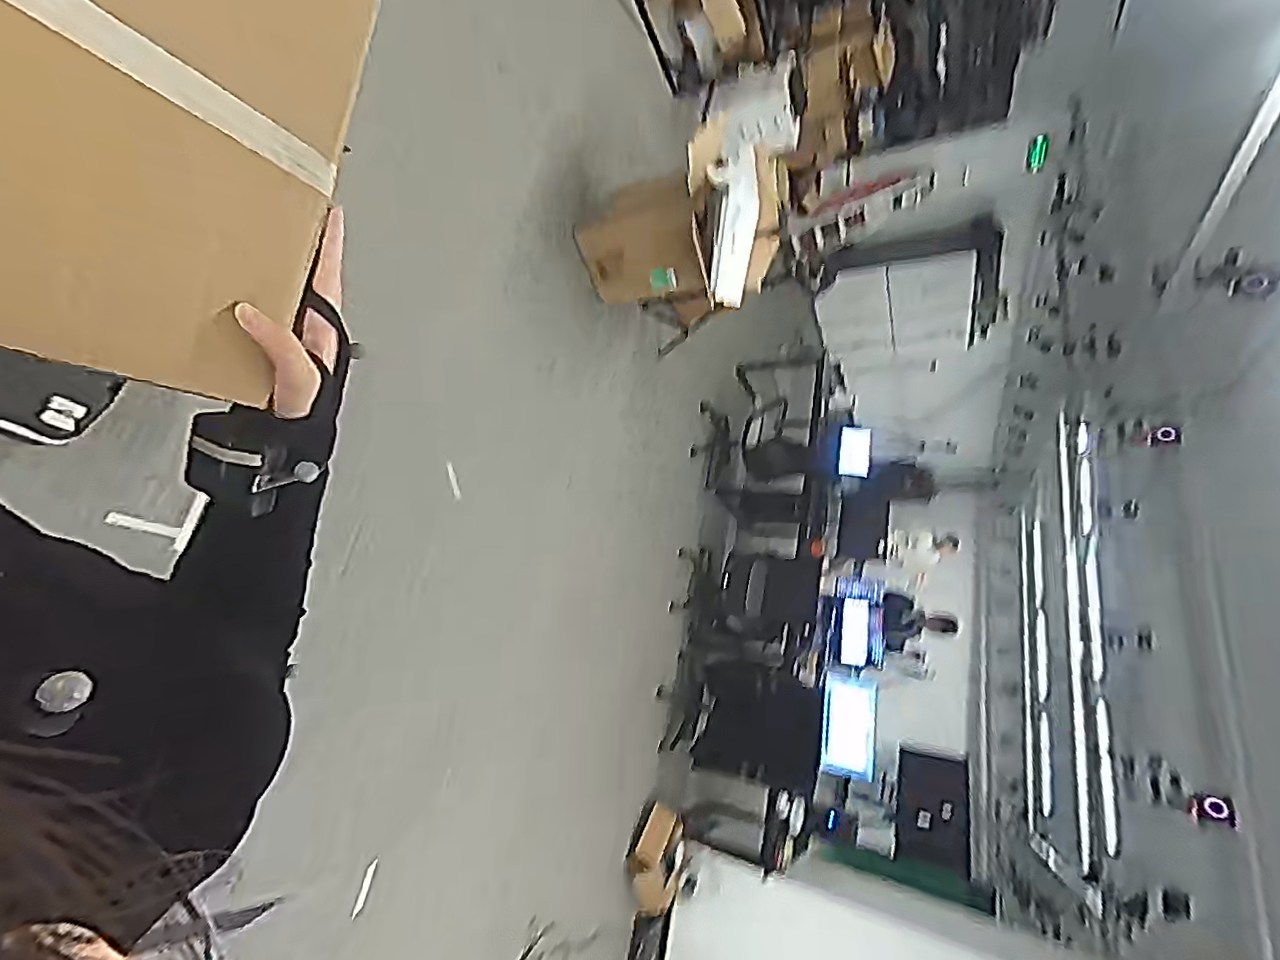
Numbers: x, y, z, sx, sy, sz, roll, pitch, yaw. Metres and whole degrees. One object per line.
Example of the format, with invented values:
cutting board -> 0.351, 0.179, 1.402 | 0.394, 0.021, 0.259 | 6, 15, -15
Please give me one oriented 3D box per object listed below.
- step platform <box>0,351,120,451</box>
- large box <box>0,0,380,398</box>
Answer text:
step platform -> -1.207, -0.326, 0.799 | 0.684, 0.204, 0.286 | 49, 50, -49
large box -> -0.425, -0.258, 0.269 | 0.408, 0.320, 0.320 | 14, 91, -58
